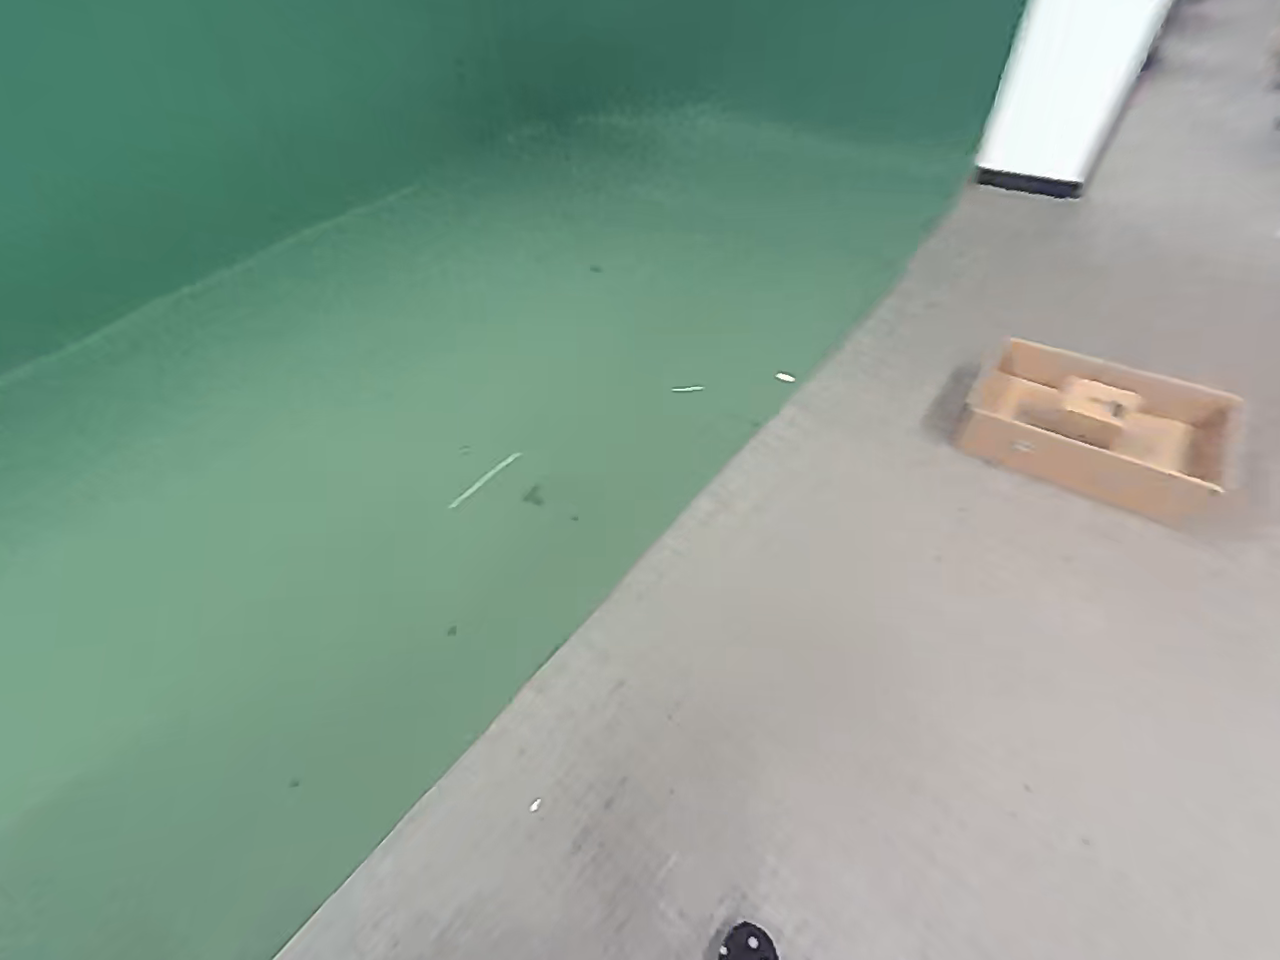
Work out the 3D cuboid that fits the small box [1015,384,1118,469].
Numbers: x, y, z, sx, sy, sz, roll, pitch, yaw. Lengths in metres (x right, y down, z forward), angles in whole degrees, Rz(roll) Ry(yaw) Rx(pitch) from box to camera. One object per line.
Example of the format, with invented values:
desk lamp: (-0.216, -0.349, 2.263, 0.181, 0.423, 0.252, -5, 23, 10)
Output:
small box: (1.295, -0.157, 1.649, 0.179, 0.176, 0.168, 28, 58, 28)
